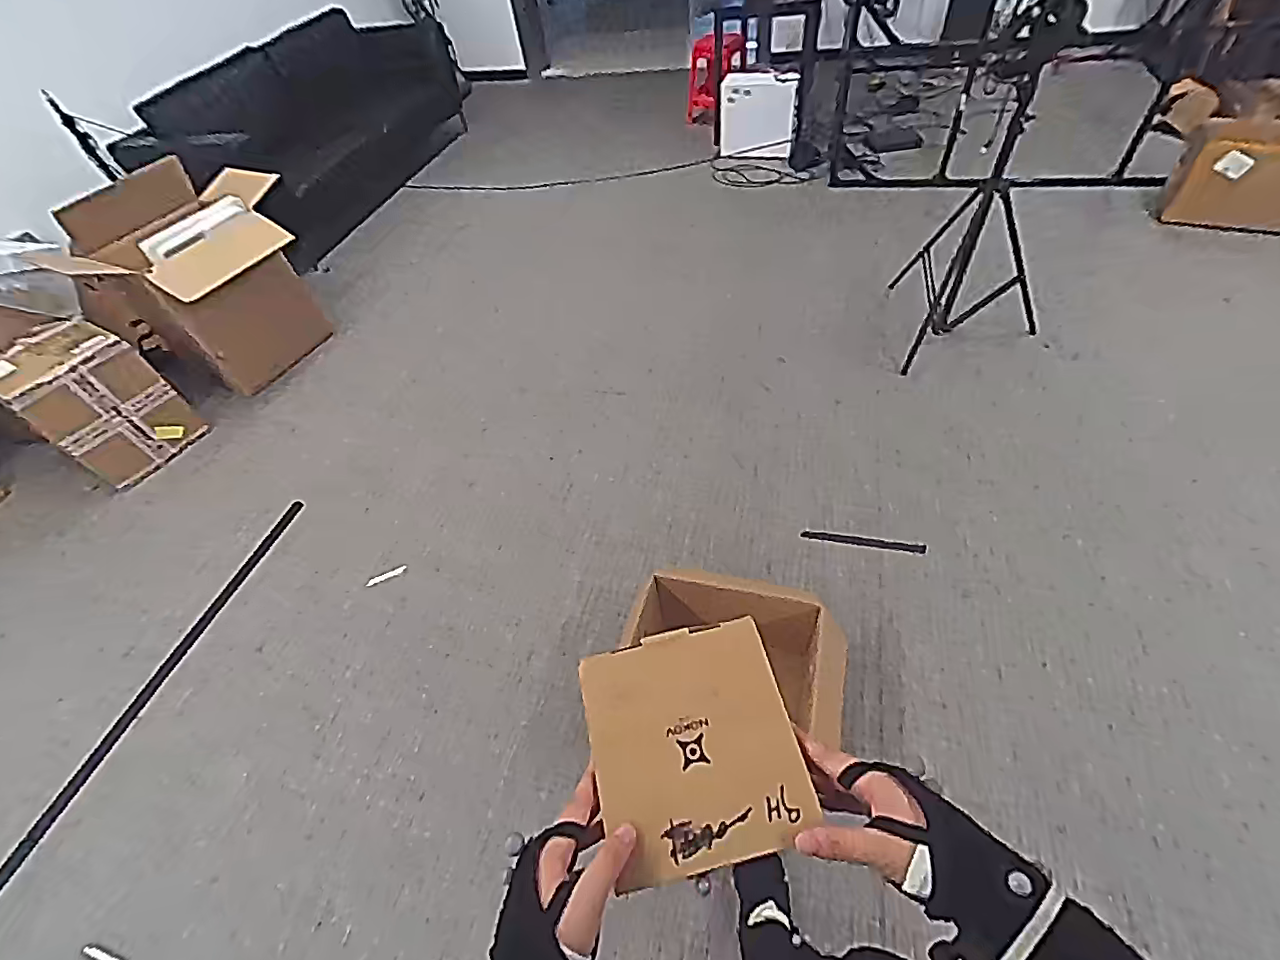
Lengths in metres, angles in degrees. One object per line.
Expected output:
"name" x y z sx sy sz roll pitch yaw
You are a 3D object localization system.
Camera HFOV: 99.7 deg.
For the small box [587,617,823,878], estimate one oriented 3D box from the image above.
"small box" 0.052 0.258 0.524 0.168 0.176 0.179 -13 58 -2
